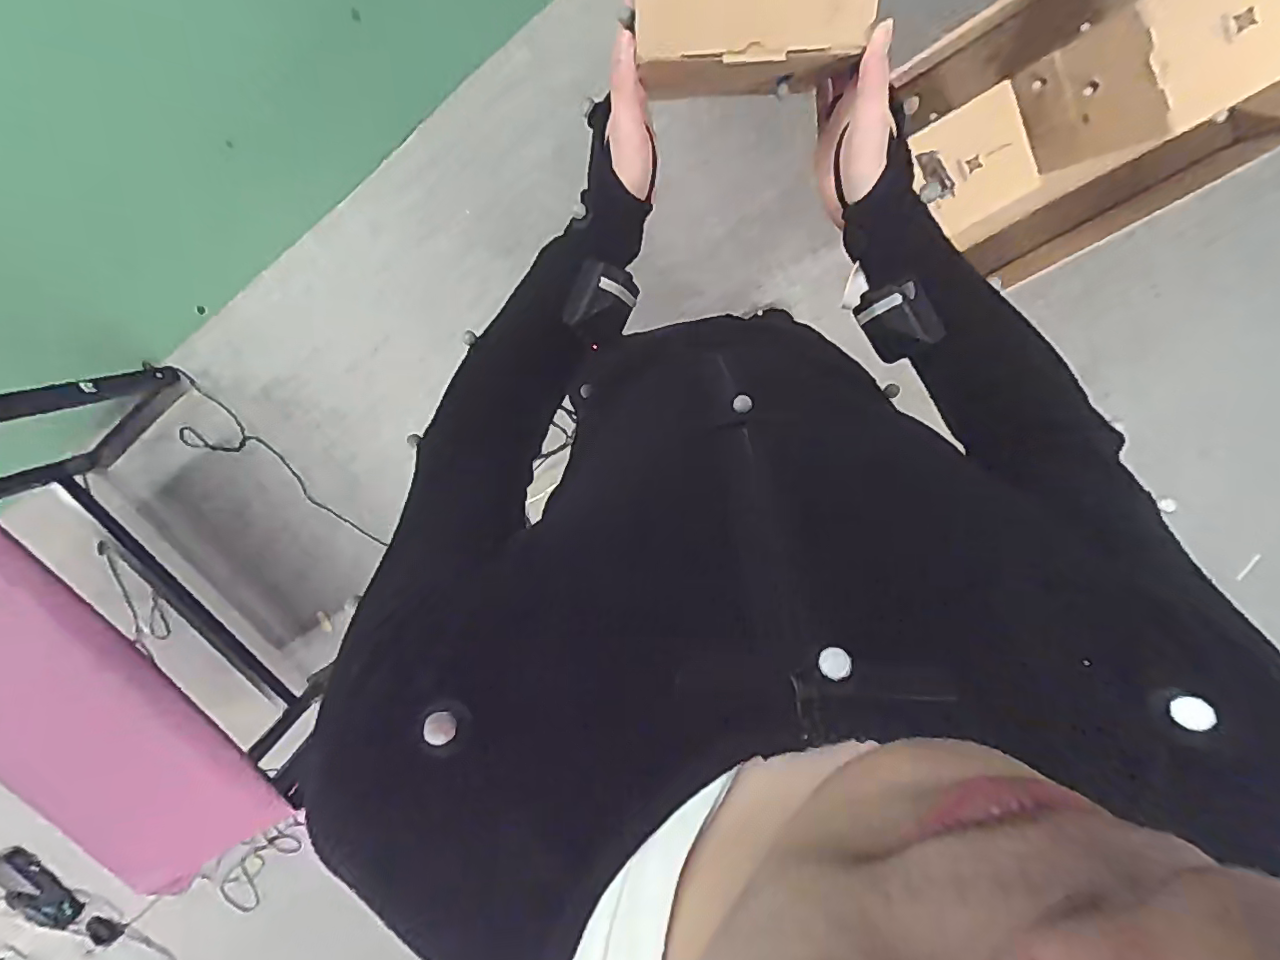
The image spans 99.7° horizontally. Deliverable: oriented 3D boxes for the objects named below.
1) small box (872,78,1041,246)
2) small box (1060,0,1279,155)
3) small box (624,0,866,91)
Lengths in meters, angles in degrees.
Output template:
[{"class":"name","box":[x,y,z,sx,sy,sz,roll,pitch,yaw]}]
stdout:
[{"class":"small box","box":[0.514,-0.515,0.909,0.179,0.176,0.168,-27,106,13]},{"class":"small box","box":[0.705,-0.561,0.702,0.179,0.176,0.168,-27,106,16]},{"class":"small box","box":[0.073,-0.411,0.409,0.168,0.176,0.179,-1,117,2]}]
